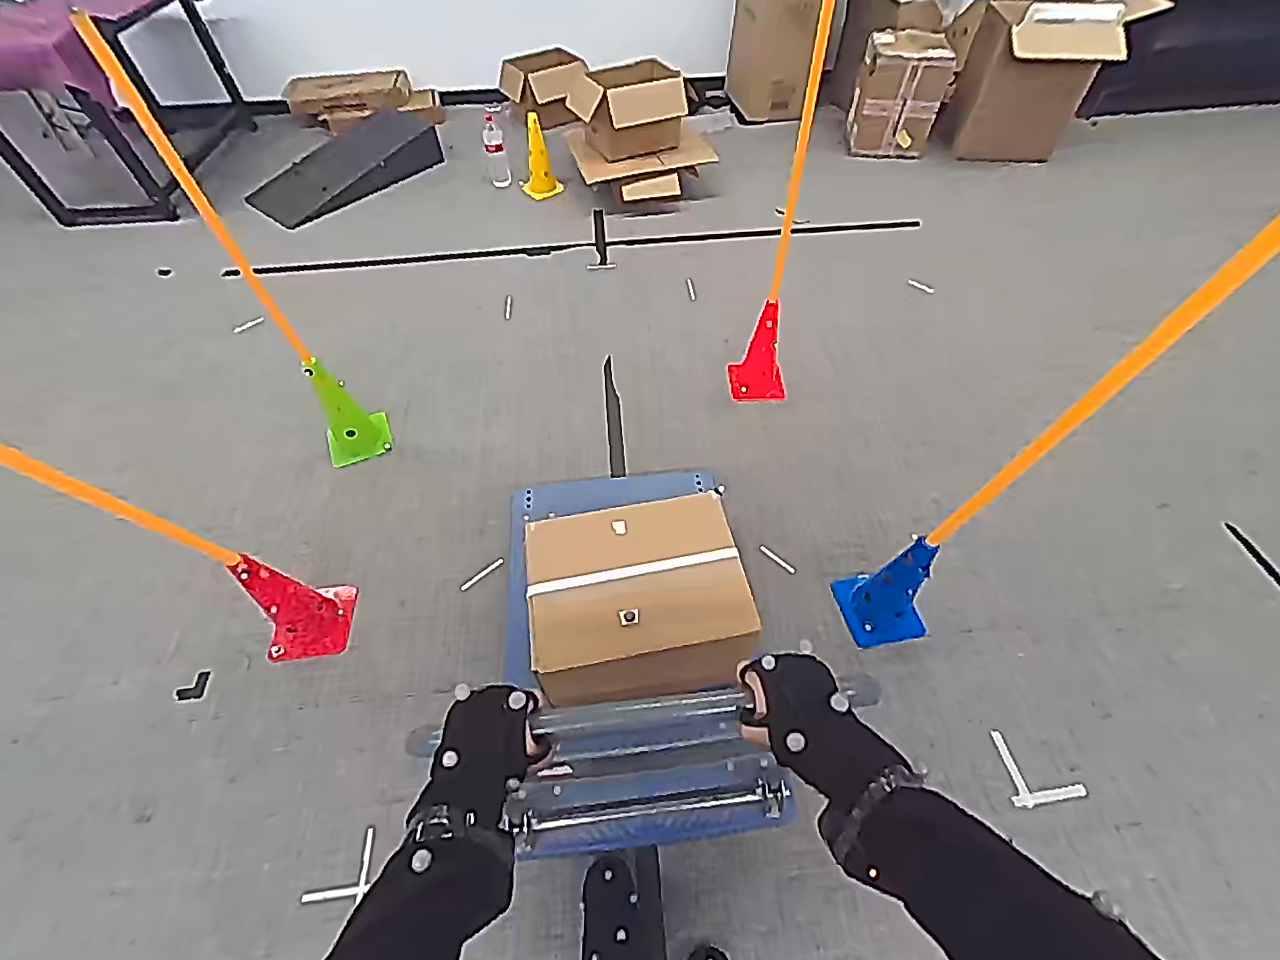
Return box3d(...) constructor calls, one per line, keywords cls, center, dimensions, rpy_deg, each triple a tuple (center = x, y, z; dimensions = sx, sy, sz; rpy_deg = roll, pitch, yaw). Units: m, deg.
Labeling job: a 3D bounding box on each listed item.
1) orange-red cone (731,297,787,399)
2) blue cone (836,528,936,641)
box3d(cls="orange-red cone", center=(0.442, -0.473, 1.878), dimensions=(0.199, 0.360, 0.198), rpy_deg=(1, 54, 0))
box3d(cls="blue cone", center=(0.655, 0.245, 1.360), dimensions=(0.193, 0.380, 0.192), rpy_deg=(-8, 53, -5))
